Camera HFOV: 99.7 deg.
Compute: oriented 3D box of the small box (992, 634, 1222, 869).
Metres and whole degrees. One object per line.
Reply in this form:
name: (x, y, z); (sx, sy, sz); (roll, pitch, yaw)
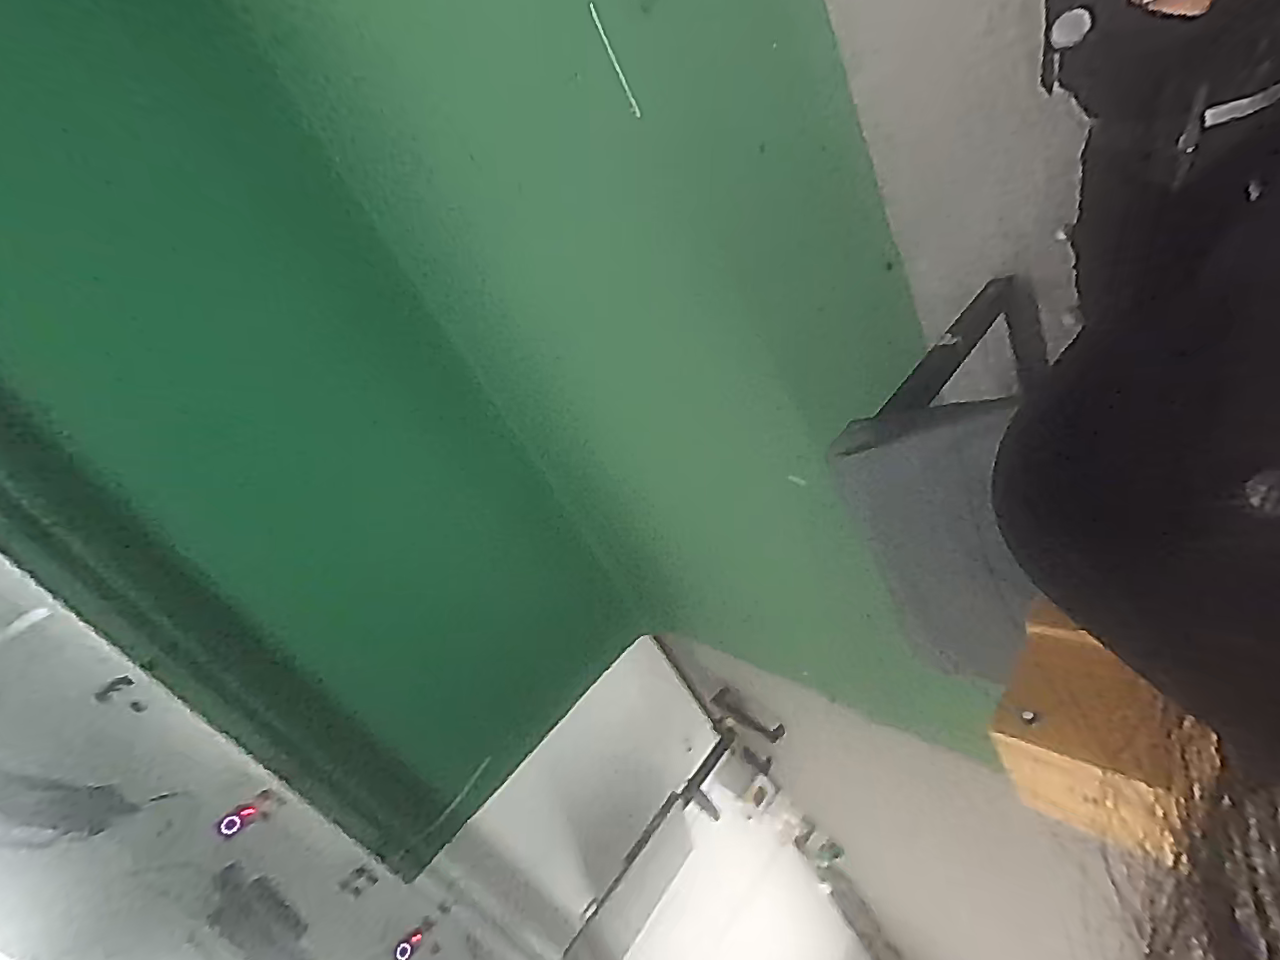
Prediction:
small box: (0.584, 0.317, 0.673); (0.179, 0.176, 0.168); (-1, 127, 57)
